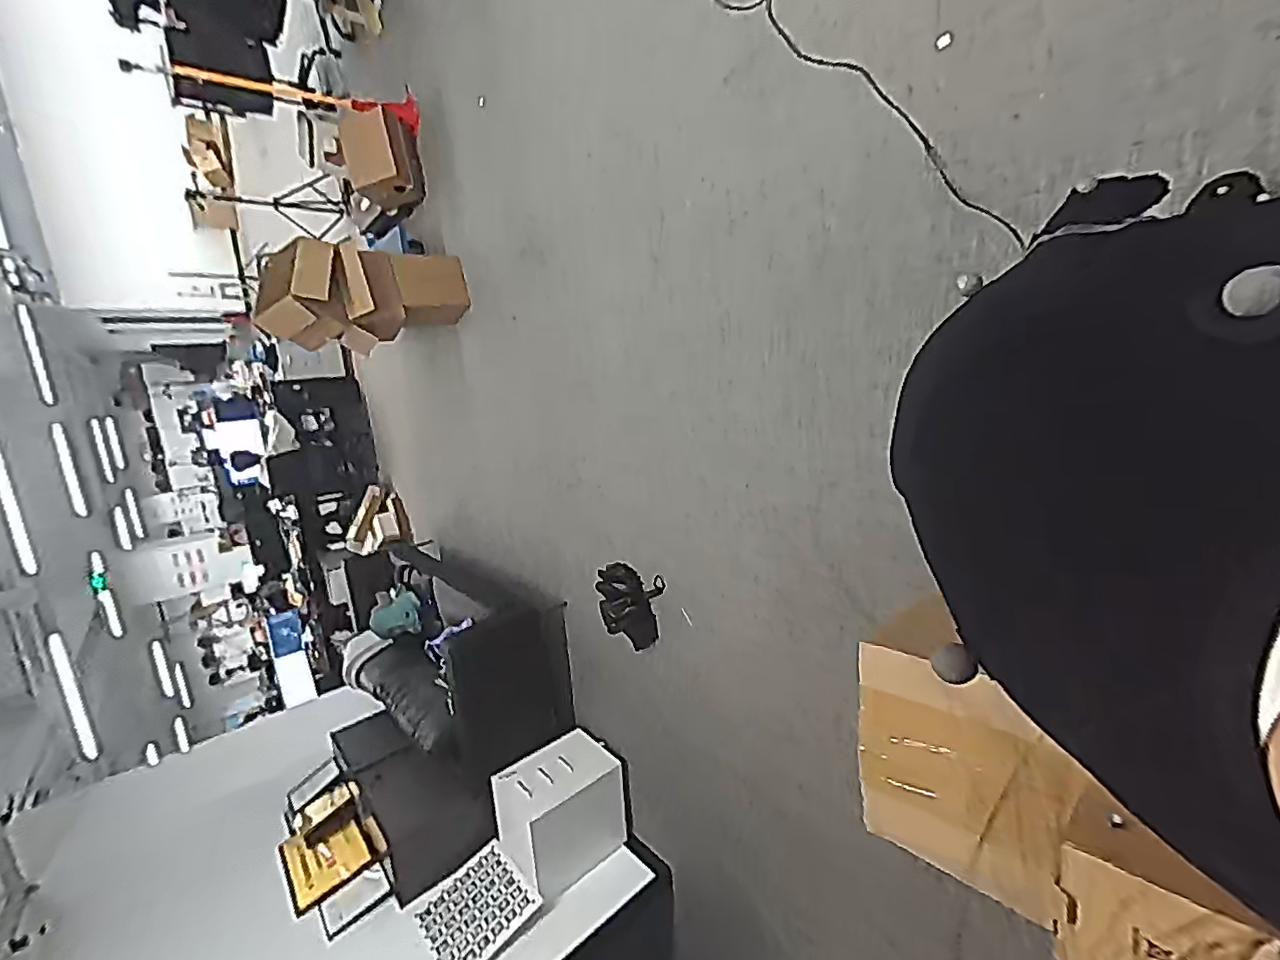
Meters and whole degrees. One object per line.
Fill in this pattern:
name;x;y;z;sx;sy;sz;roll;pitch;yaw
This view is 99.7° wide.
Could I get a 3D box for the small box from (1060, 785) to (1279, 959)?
small box;0.625;0.499;0.638;0.179;0.176;0.168;3;100;48
